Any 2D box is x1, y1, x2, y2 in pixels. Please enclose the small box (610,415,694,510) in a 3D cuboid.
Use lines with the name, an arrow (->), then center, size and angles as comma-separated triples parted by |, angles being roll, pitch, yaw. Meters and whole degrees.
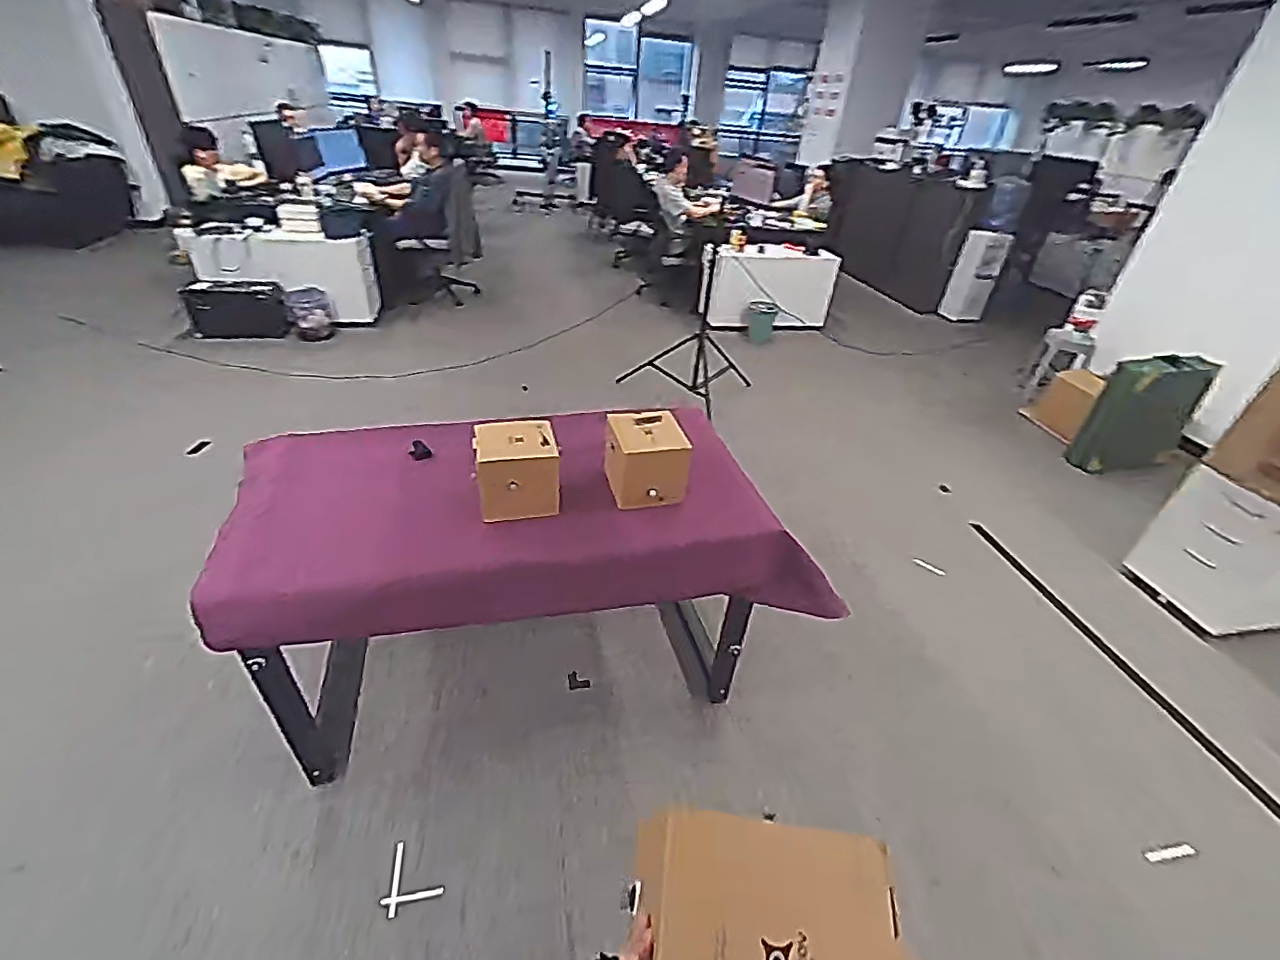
small box -> 0.022, -0.045, 1.344 | 0.168, 0.176, 0.179 | -6, 37, -14

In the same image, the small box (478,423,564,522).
small box -> -0.279, -0.017, 1.269 | 0.179, 0.176, 0.168 | -6, 36, -14
